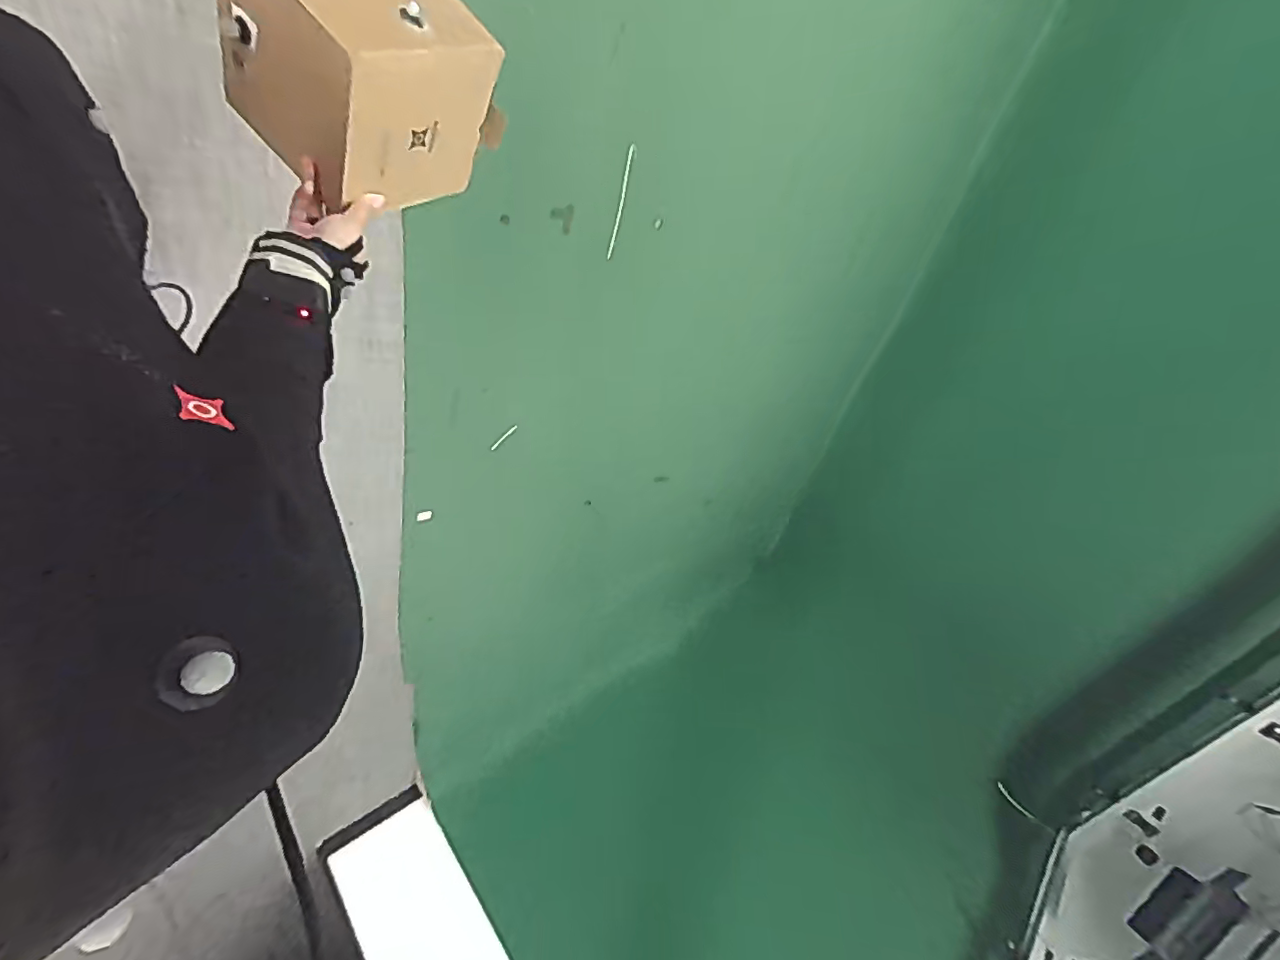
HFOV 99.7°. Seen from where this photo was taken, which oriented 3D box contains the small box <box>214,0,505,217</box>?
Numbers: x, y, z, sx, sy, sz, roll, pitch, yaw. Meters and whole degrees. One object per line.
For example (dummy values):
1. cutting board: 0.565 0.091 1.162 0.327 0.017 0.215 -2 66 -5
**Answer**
1. small box: -0.272 -0.403 0.532 0.179 0.176 0.168 -45 -178 -40
